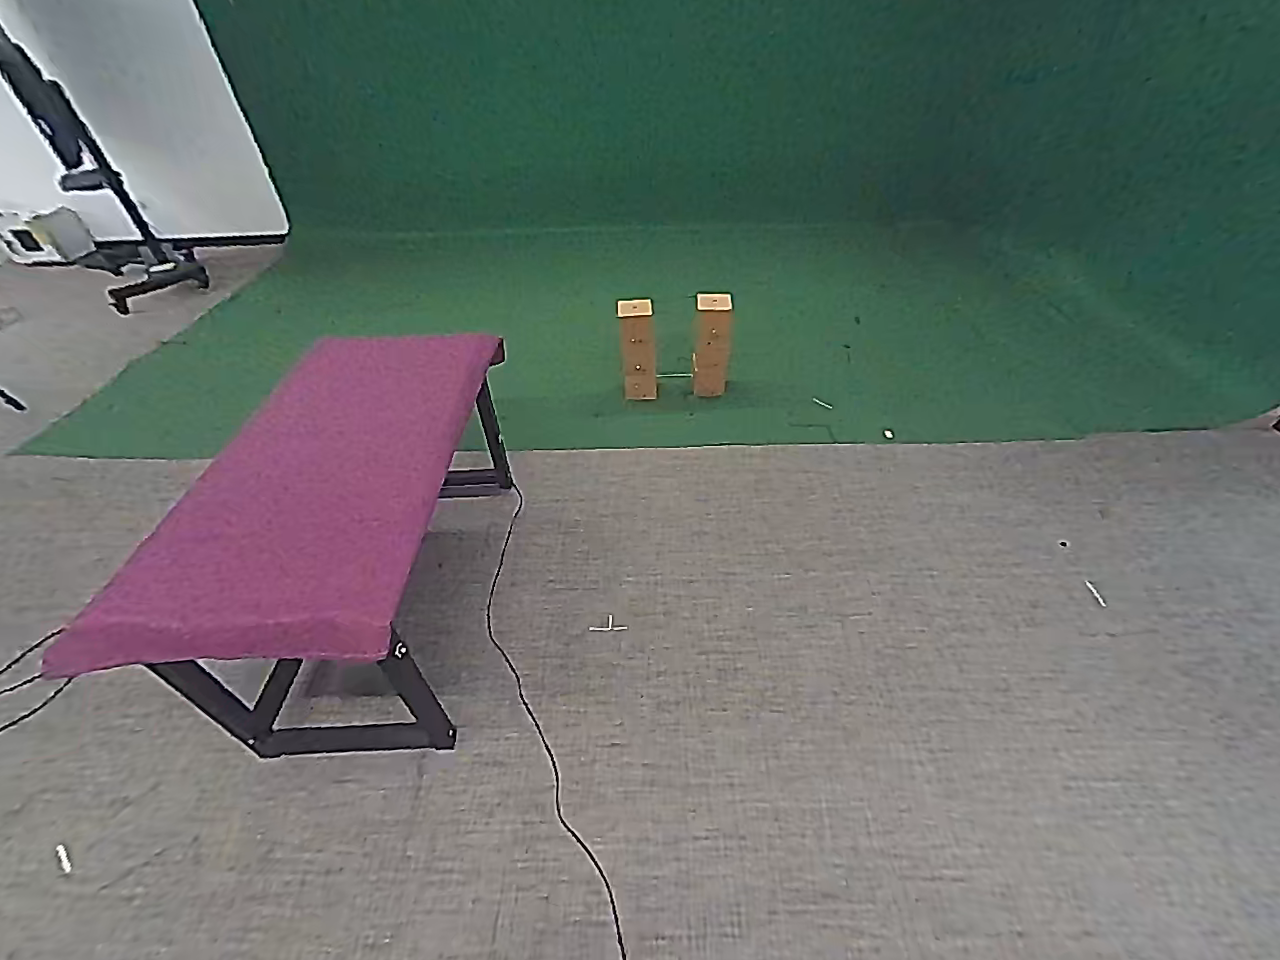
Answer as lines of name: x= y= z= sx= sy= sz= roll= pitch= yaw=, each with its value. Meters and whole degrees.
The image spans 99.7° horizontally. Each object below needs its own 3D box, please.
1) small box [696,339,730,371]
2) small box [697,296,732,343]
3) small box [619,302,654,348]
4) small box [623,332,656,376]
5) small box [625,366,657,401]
small box: x=0.379 y=-0.691 z=2.831 sx=0.168 sy=0.176 sz=0.179 roll=1 pitch=42 yaw=4
small box: x=0.372 y=-0.810 z=2.716 sx=0.168 sy=0.176 sz=0.179 roll=2 pitch=43 yaw=4
small box: x=-0.018 y=-0.776 z=2.705 sx=0.168 sy=0.176 sz=0.179 roll=-3 pitch=42 yaw=1
small box: x=-0.004 y=-0.657 z=2.815 sx=0.168 sy=0.176 sz=0.179 roll=-3 pitch=43 yaw=0
small box: x=0.010 y=-0.540 z=2.930 sx=0.168 sy=0.176 sz=0.179 roll=-1 pitch=42 yaw=2
